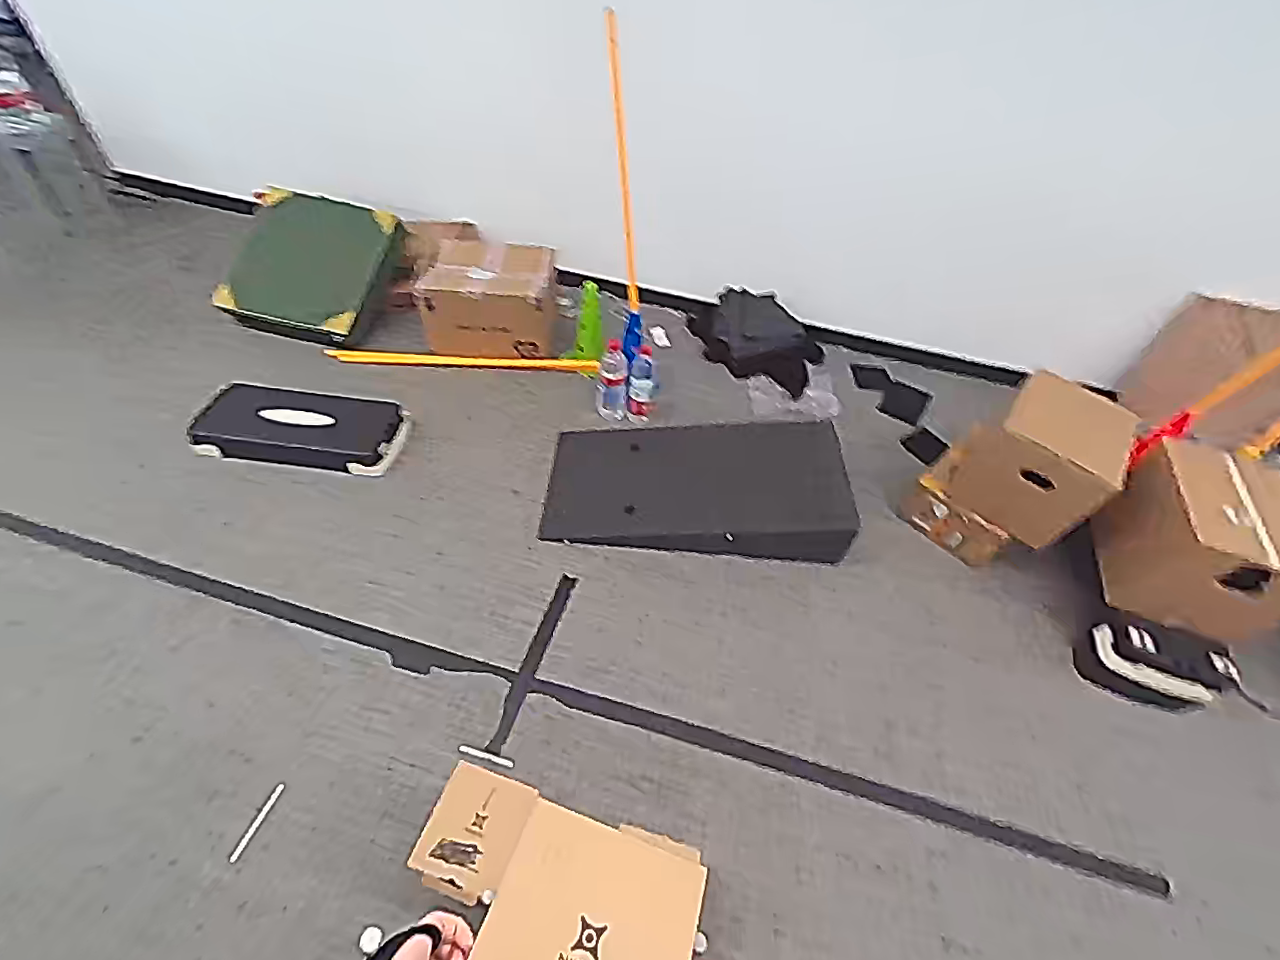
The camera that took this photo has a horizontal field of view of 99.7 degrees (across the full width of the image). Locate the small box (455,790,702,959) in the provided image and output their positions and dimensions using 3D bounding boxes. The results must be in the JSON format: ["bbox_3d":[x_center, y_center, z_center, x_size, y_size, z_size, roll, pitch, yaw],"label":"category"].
[{"bbox_3d":[-0.060,0.415,0.469,0.168,0.176,0.179,18,44,9],"label":"small box"}]

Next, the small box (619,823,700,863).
[{"bbox_3d":[0.008,0.829,1.102,0.179,0.176,0.168,16,49,7],"label":"small box"}]

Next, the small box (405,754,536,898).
[{"bbox_3d":[-0.297,0.650,1.004,0.168,0.176,0.179,18,49,8],"label":"small box"}]
